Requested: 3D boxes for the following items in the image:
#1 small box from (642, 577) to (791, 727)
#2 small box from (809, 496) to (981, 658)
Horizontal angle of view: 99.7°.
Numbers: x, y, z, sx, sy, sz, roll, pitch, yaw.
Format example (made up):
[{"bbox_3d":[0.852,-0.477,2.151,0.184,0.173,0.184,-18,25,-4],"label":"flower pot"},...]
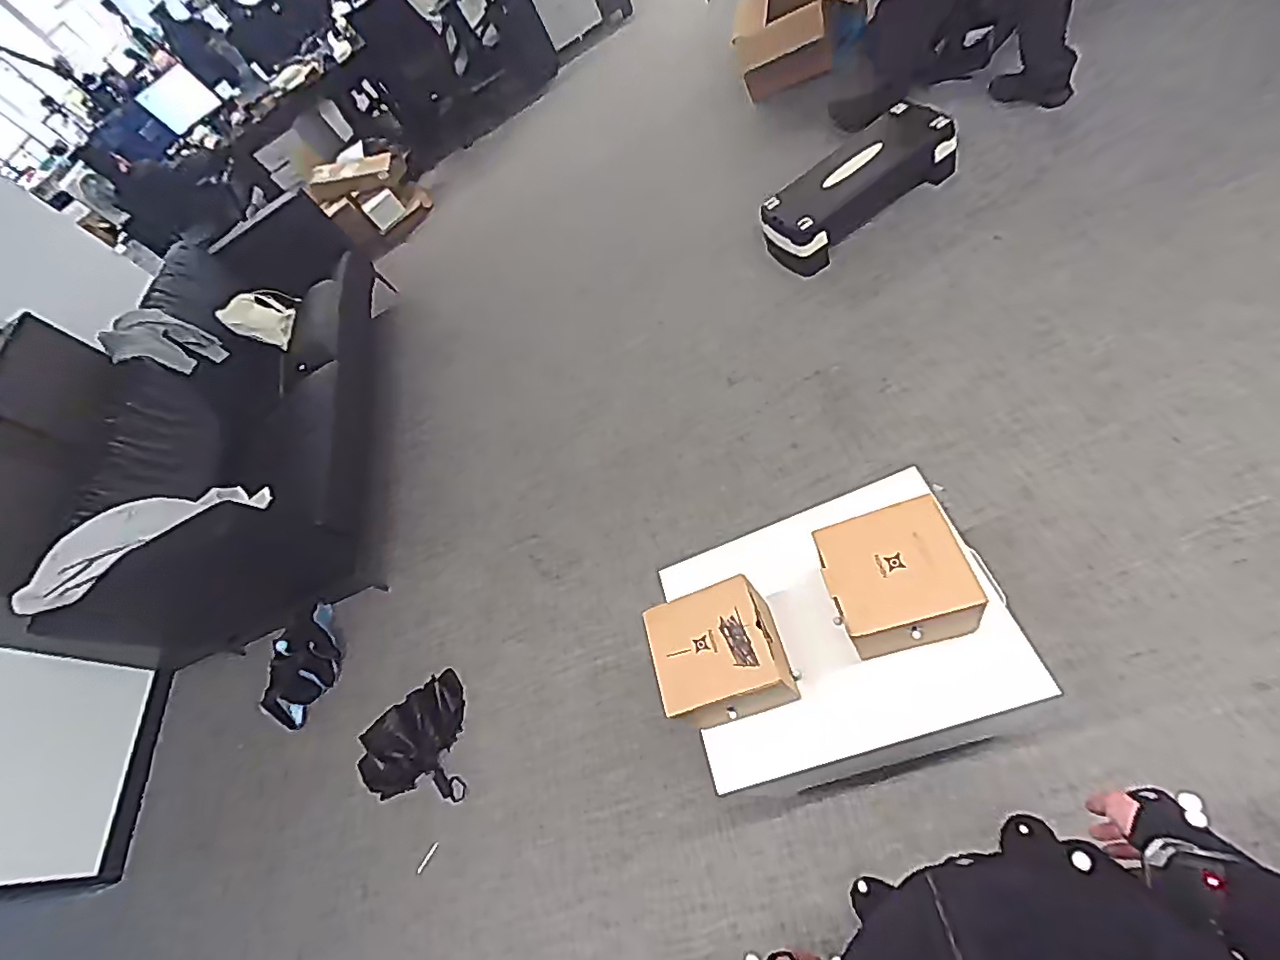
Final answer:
[{"bbox_3d":[0.127,0.279,0.859,0.179,0.176,0.168,-24,54,14],"label":"small box"},{"bbox_3d":[0.375,0.154,0.807,0.179,0.176,0.168,-21,56,15],"label":"small box"}]
